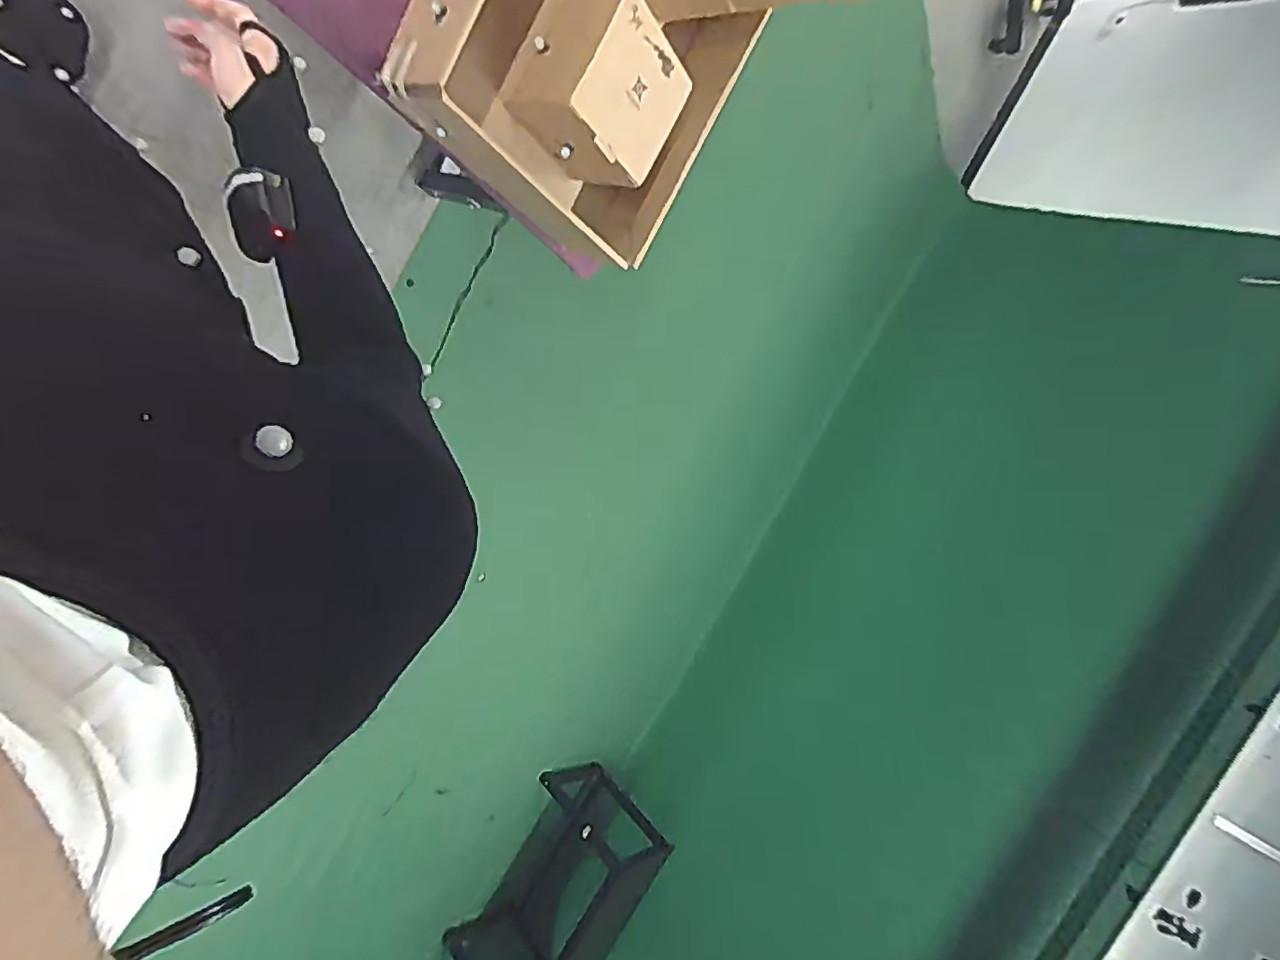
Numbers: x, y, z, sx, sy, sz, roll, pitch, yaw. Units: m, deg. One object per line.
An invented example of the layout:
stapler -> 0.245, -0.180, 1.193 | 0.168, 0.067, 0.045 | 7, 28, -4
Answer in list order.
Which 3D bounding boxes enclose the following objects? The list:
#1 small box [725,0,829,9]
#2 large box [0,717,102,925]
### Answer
small box -> 0.189, -0.758, 0.690 | 0.168, 0.176, 0.179 | 21, 101, -52
large box -> -1.609, 0.861, 1.271 | 0.408, 0.320, 0.320 | -22, 131, -40
